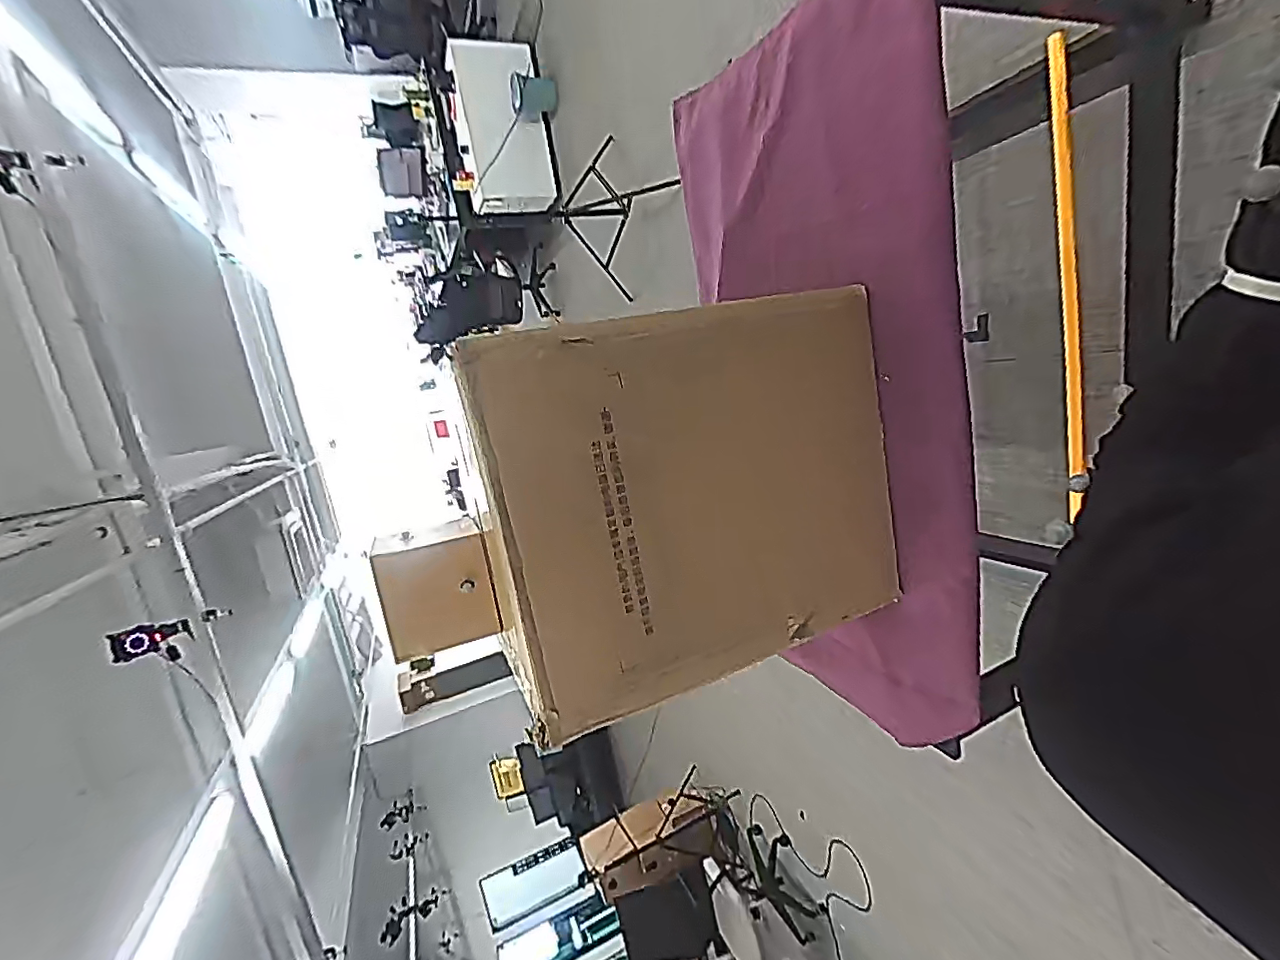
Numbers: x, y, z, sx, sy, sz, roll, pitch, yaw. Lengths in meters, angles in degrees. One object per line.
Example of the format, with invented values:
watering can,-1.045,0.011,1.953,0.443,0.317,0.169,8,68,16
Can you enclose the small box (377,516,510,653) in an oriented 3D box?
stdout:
small box,-0.330,0.173,0.912,0.168,0.176,0.179,-165,64,-67
